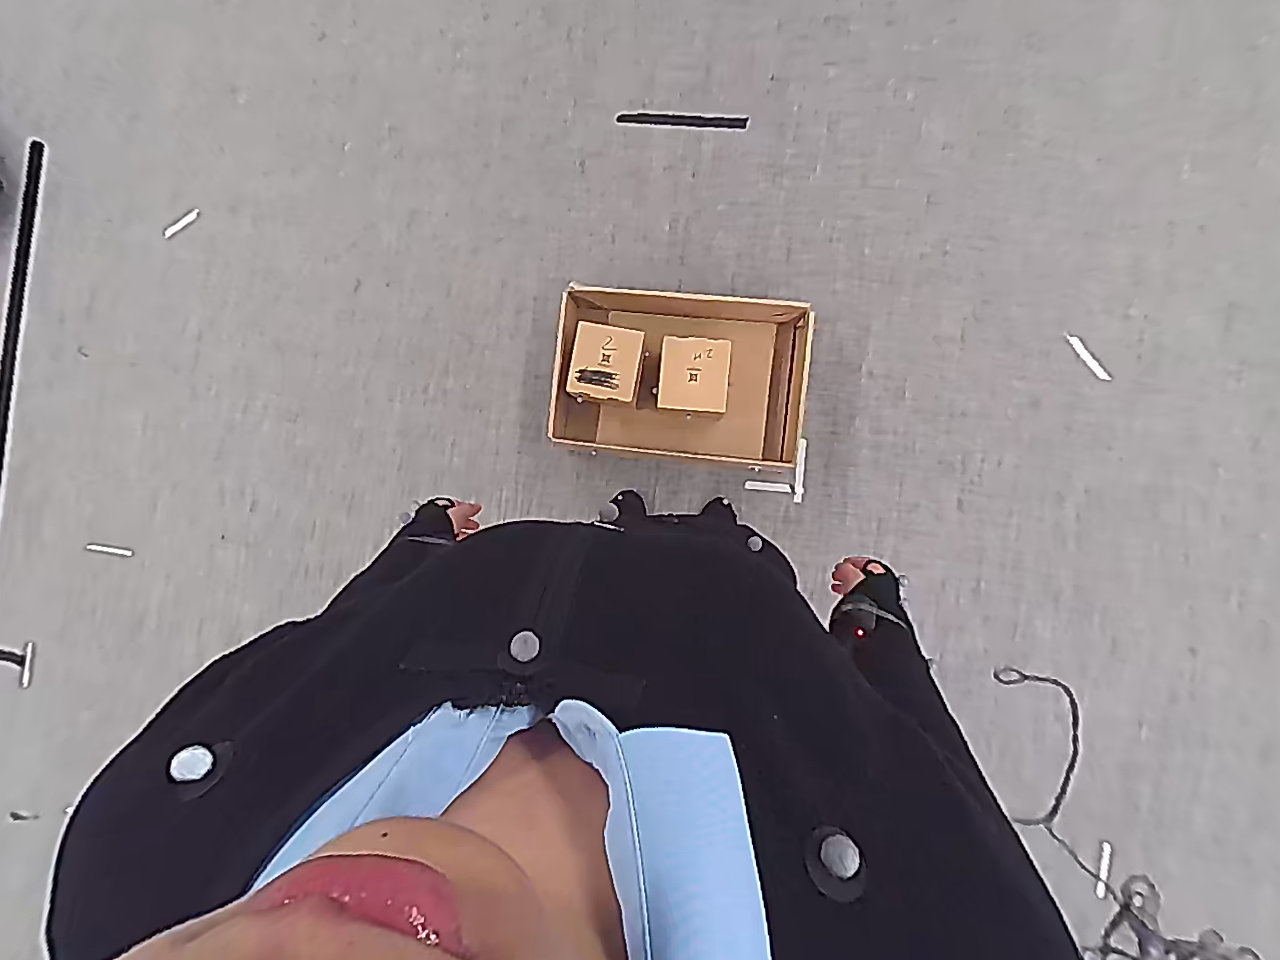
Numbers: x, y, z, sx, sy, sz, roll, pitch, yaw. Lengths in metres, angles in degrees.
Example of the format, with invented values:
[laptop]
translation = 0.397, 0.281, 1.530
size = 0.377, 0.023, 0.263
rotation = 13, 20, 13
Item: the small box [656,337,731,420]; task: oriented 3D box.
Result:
[small box]
translation = 0.136, -0.250, 1.370
size = 0.168, 0.176, 0.179
rotation = 5, 90, 5
